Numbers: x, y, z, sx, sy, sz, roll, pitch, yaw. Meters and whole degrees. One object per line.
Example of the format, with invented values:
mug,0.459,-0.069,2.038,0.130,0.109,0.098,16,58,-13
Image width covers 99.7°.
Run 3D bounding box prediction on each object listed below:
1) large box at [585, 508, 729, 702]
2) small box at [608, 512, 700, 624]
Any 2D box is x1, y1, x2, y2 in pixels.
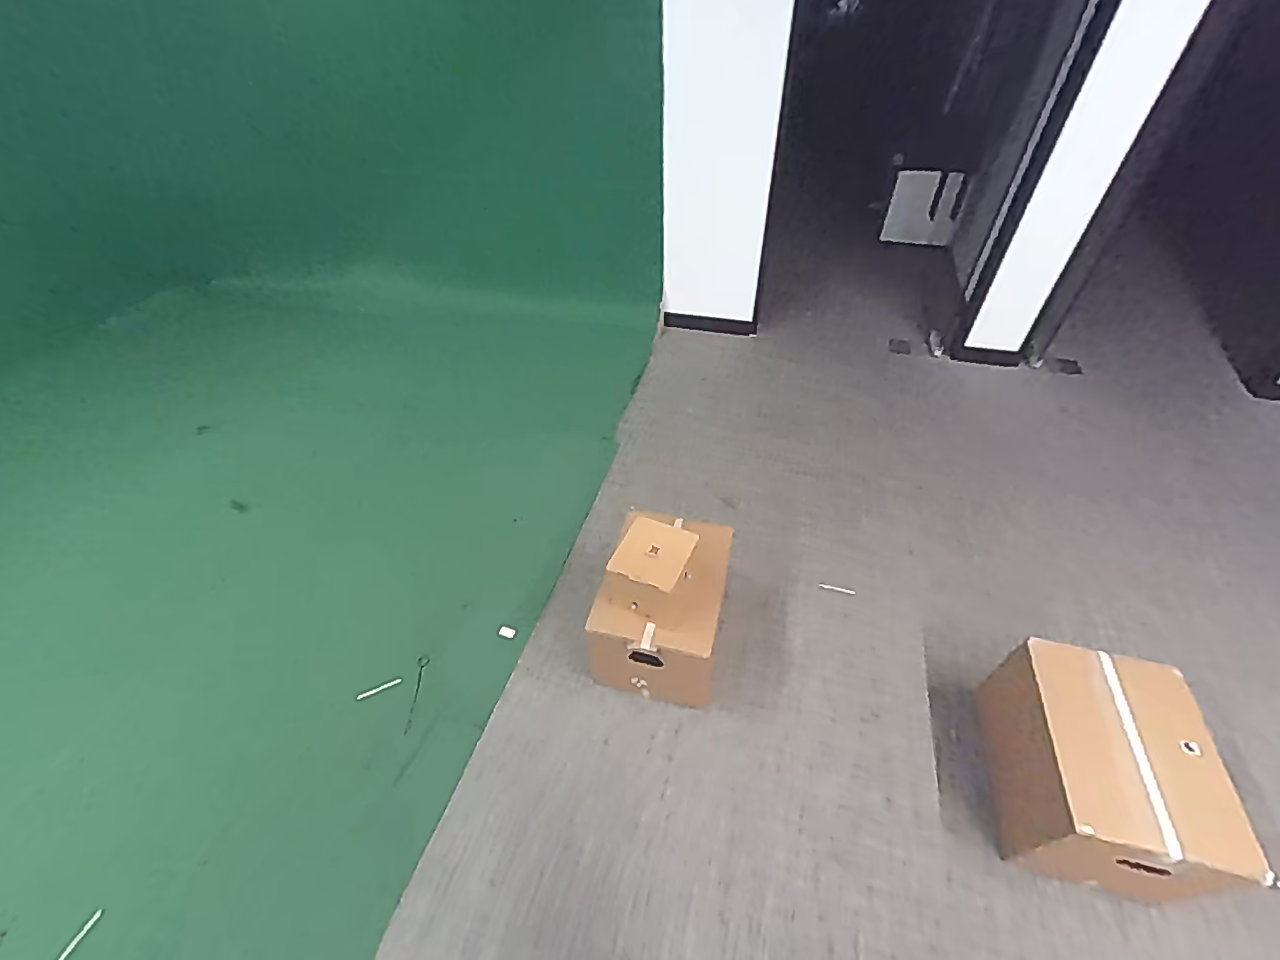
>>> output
large box,0.065,0.347,1.523,0.320,0.320,0.408,10,47,11
small box,0.036,0.213,1.314,0.168,0.176,0.179,17,50,20
